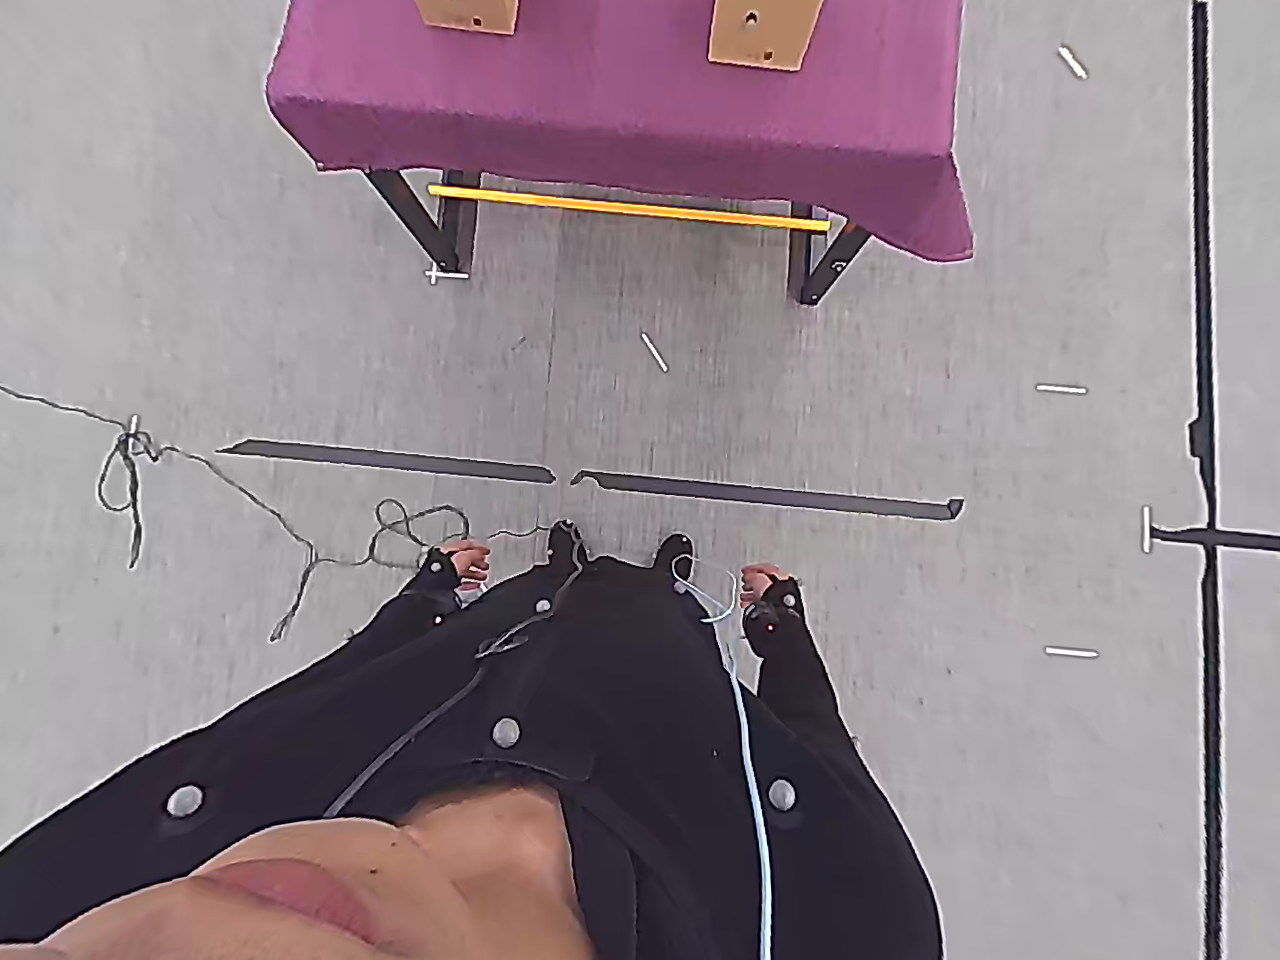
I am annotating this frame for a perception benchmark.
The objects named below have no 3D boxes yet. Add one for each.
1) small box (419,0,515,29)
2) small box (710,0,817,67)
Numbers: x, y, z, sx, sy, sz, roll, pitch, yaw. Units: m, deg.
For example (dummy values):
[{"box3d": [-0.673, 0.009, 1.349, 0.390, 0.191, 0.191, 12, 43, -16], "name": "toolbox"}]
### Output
[{"box3d": [-0.302, -0.912, 0.906, 0.168, 0.176, 0.179, 7, 86, 0], "name": "small box"}, {"box3d": [0.214, -0.843, 0.907, 0.168, 0.176, 0.179, 7, 85, 1], "name": "small box"}]
